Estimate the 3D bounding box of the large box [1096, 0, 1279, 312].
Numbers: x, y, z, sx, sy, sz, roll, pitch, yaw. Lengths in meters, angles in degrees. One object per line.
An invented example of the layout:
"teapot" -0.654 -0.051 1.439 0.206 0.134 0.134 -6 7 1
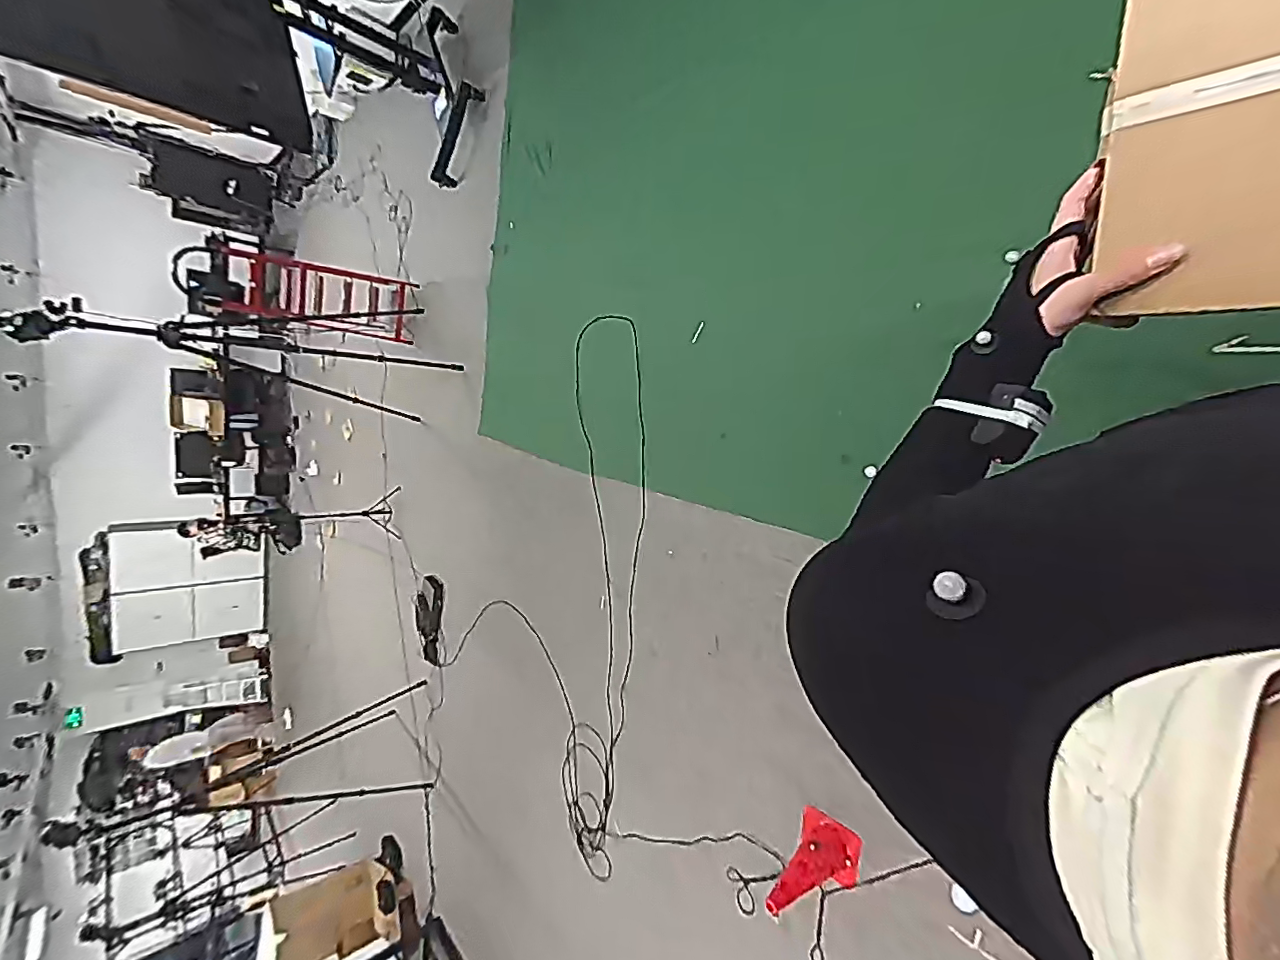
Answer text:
"large box" 0.630 -0.304 0.394 0.408 0.320 0.320 12 112 47
